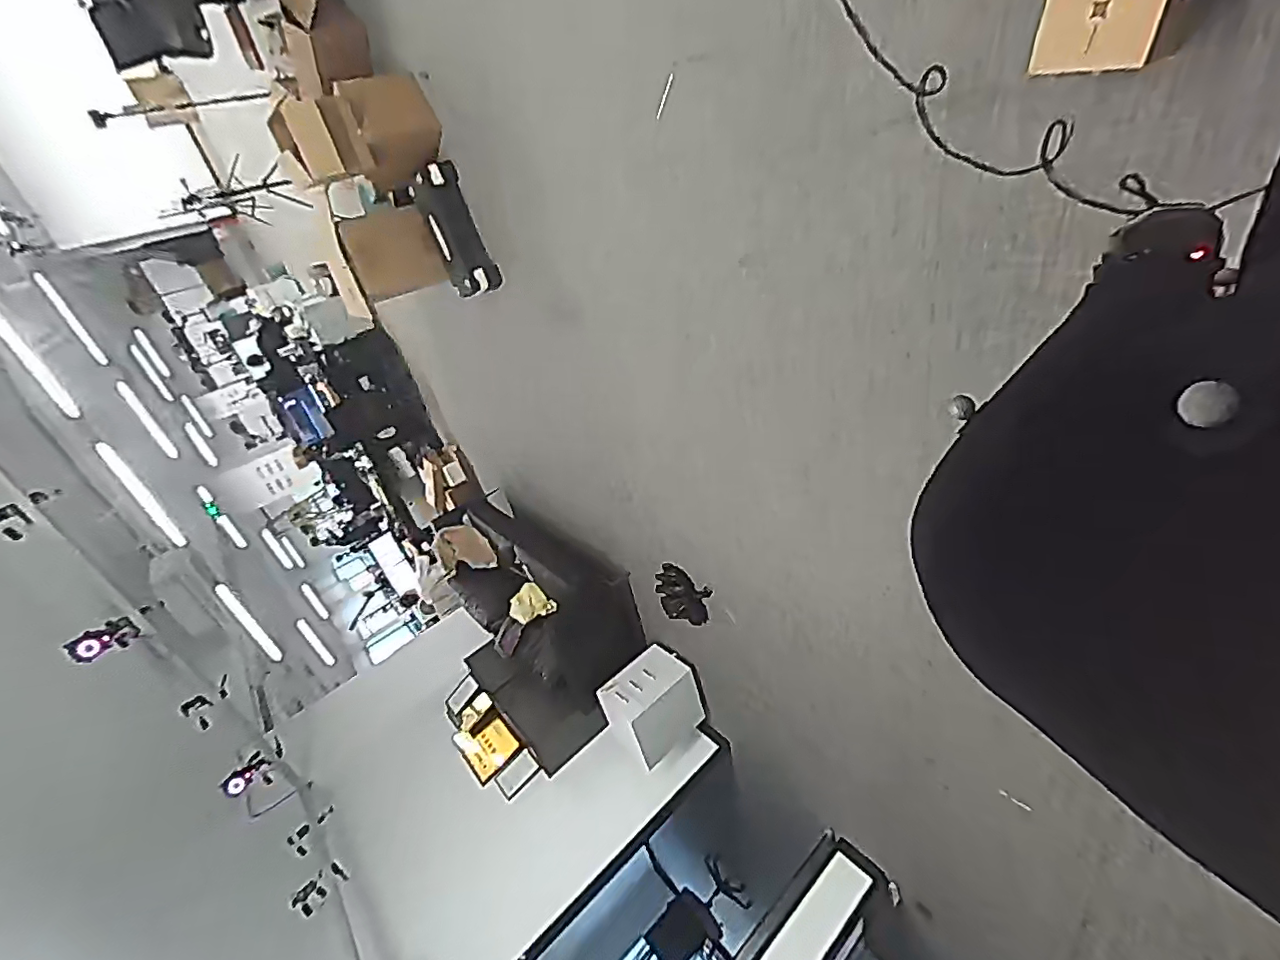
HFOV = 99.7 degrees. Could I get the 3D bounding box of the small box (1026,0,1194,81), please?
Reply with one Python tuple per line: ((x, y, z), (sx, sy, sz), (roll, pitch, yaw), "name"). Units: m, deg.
((0.775, -0.768, 0.876), (0.168, 0.176, 0.179), (32, 143, 40), "small box")
